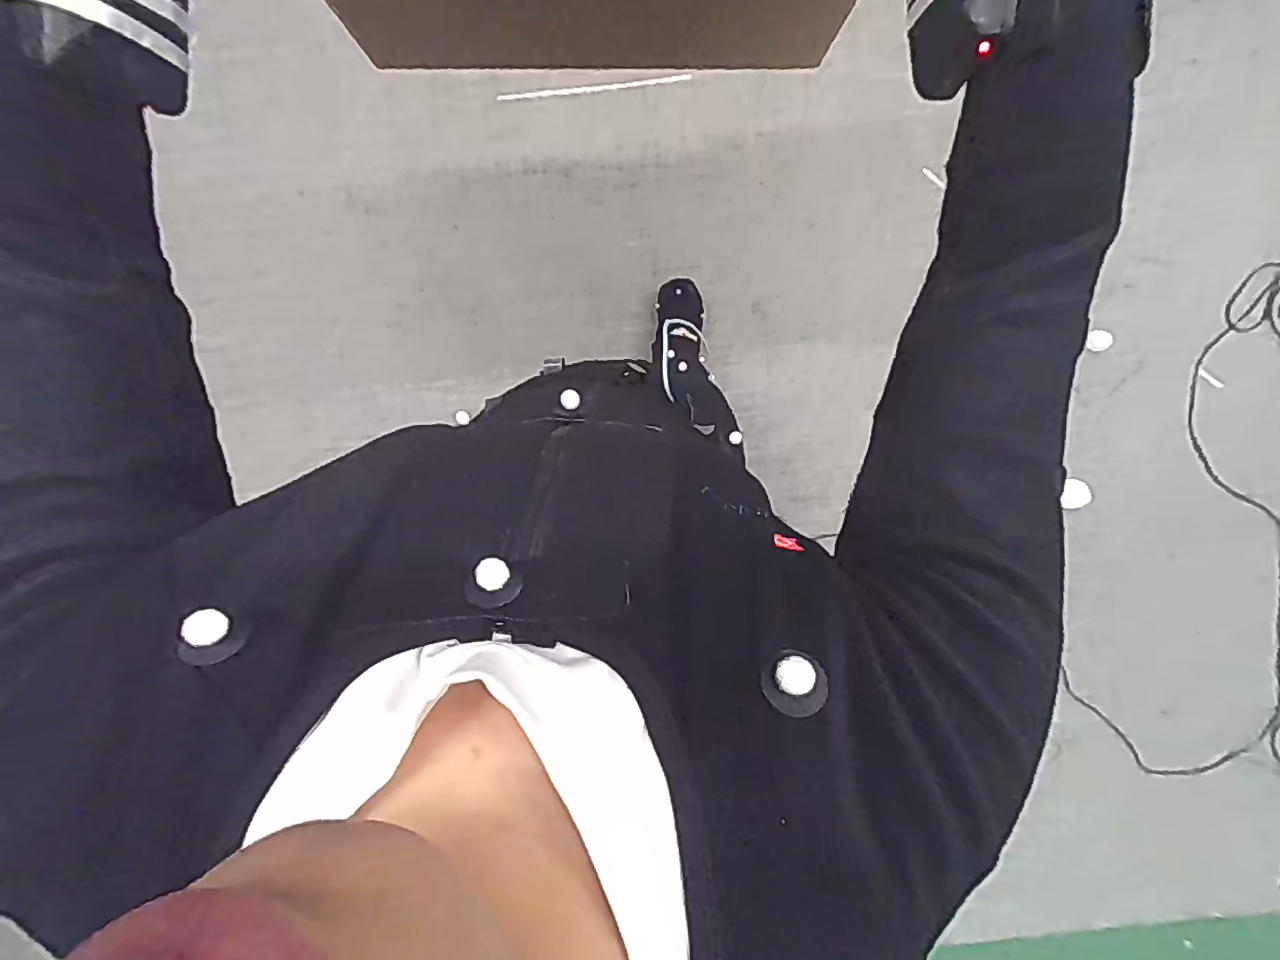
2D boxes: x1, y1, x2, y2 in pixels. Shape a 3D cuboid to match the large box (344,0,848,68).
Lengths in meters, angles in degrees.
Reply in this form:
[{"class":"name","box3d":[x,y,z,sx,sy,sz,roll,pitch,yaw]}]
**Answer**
[{"class":"large box","box3d":[-0.032,-0.507,0.326,0.408,0.320,0.320,-2,100,-2]}]
